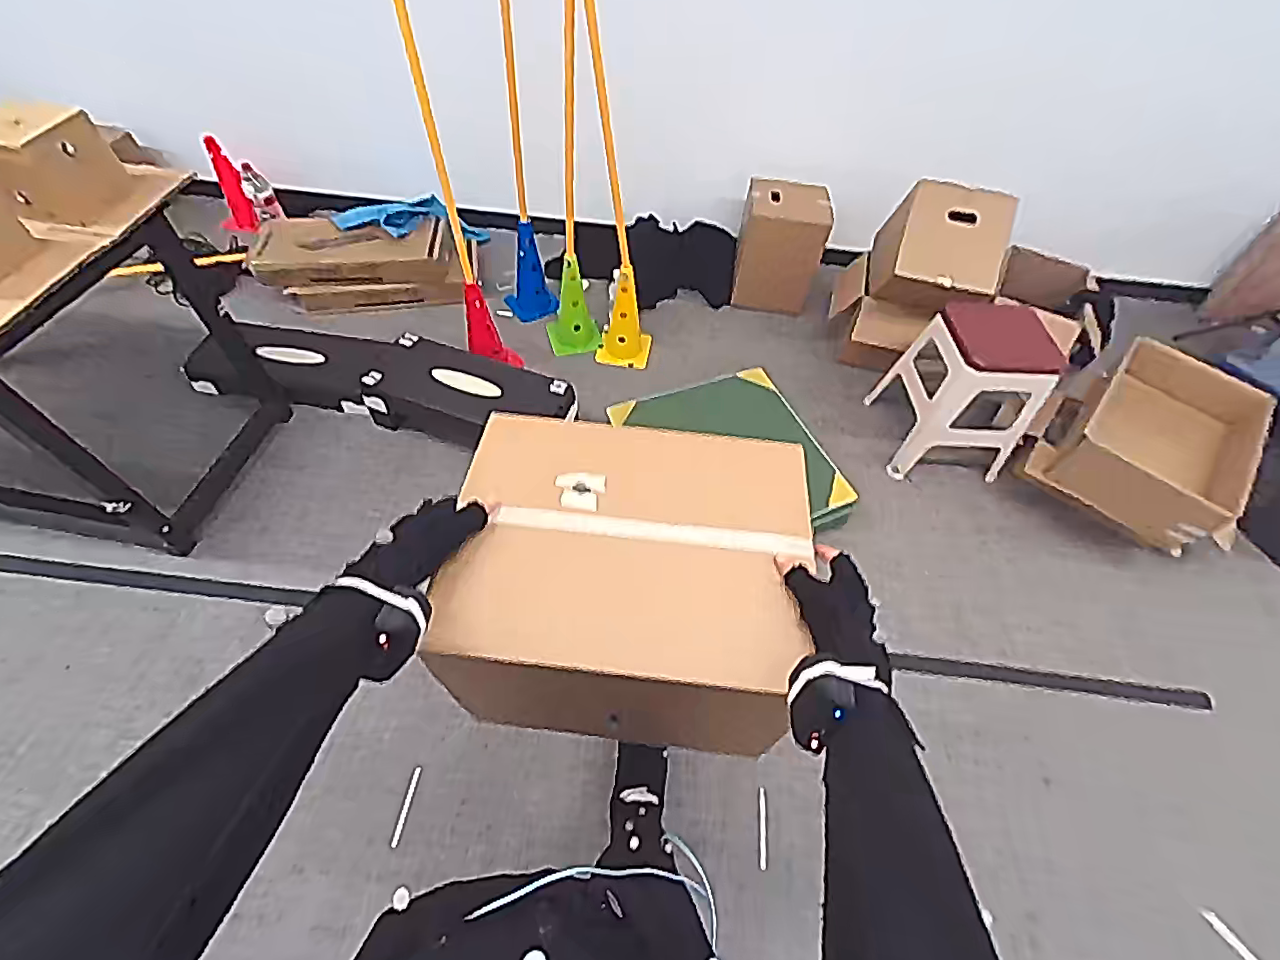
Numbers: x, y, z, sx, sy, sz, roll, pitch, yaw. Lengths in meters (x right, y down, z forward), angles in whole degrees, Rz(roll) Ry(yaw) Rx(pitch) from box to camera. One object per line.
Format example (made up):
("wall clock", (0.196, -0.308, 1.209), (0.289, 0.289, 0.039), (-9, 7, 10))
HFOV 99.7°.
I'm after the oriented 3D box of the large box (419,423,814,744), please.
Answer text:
("large box", (-0.013, 0.151, 0.742), (0.408, 0.320, 0.320), (6, 52, 3))
